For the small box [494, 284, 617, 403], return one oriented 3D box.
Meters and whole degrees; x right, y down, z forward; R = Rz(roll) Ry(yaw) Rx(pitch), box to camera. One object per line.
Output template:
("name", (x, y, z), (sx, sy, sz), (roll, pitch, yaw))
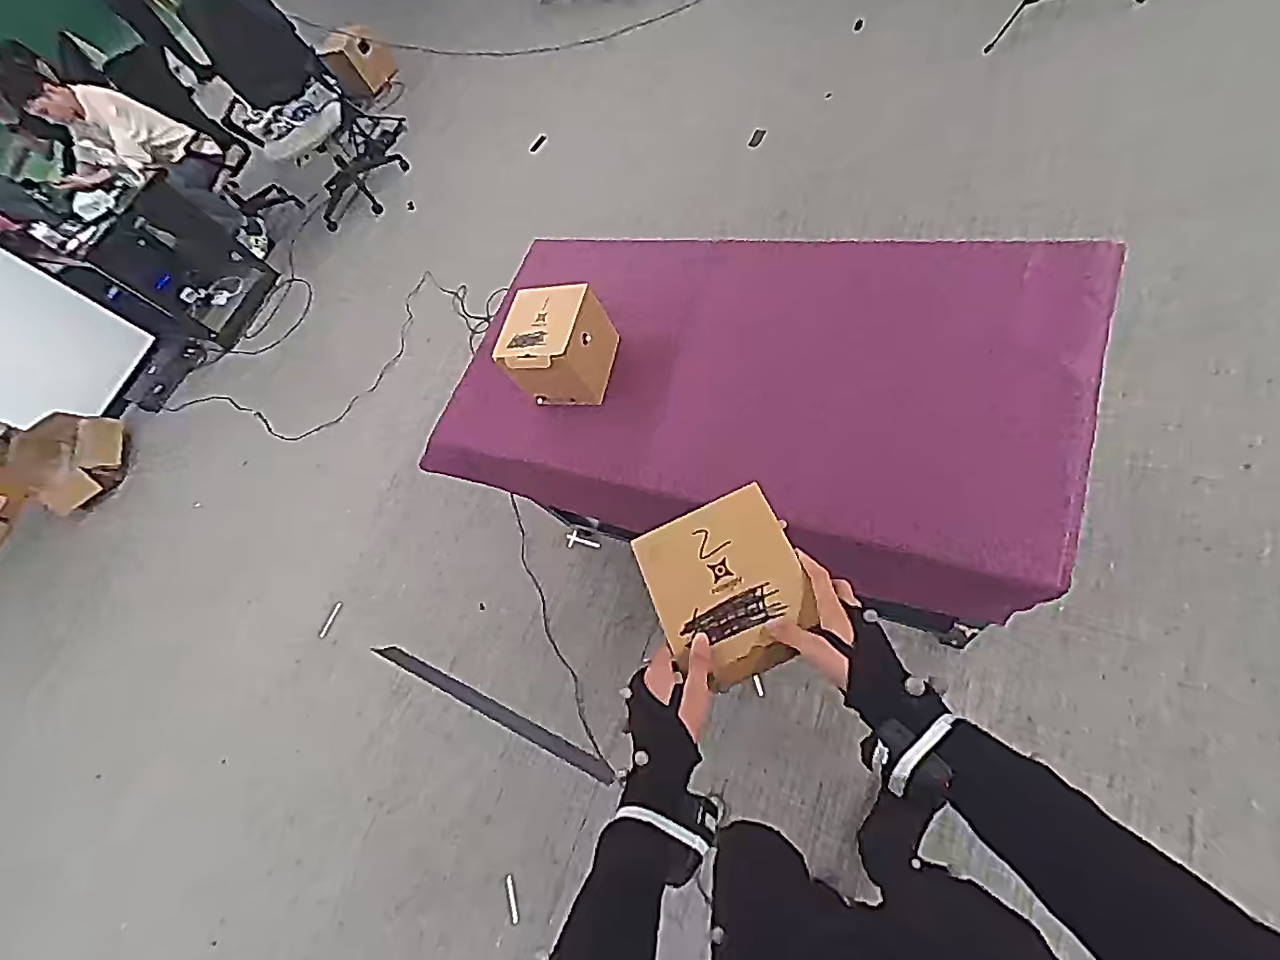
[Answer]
("small box", (-0.163, -0.270, 1.107), (0.168, 0.176, 0.179), (4, 67, 23))
